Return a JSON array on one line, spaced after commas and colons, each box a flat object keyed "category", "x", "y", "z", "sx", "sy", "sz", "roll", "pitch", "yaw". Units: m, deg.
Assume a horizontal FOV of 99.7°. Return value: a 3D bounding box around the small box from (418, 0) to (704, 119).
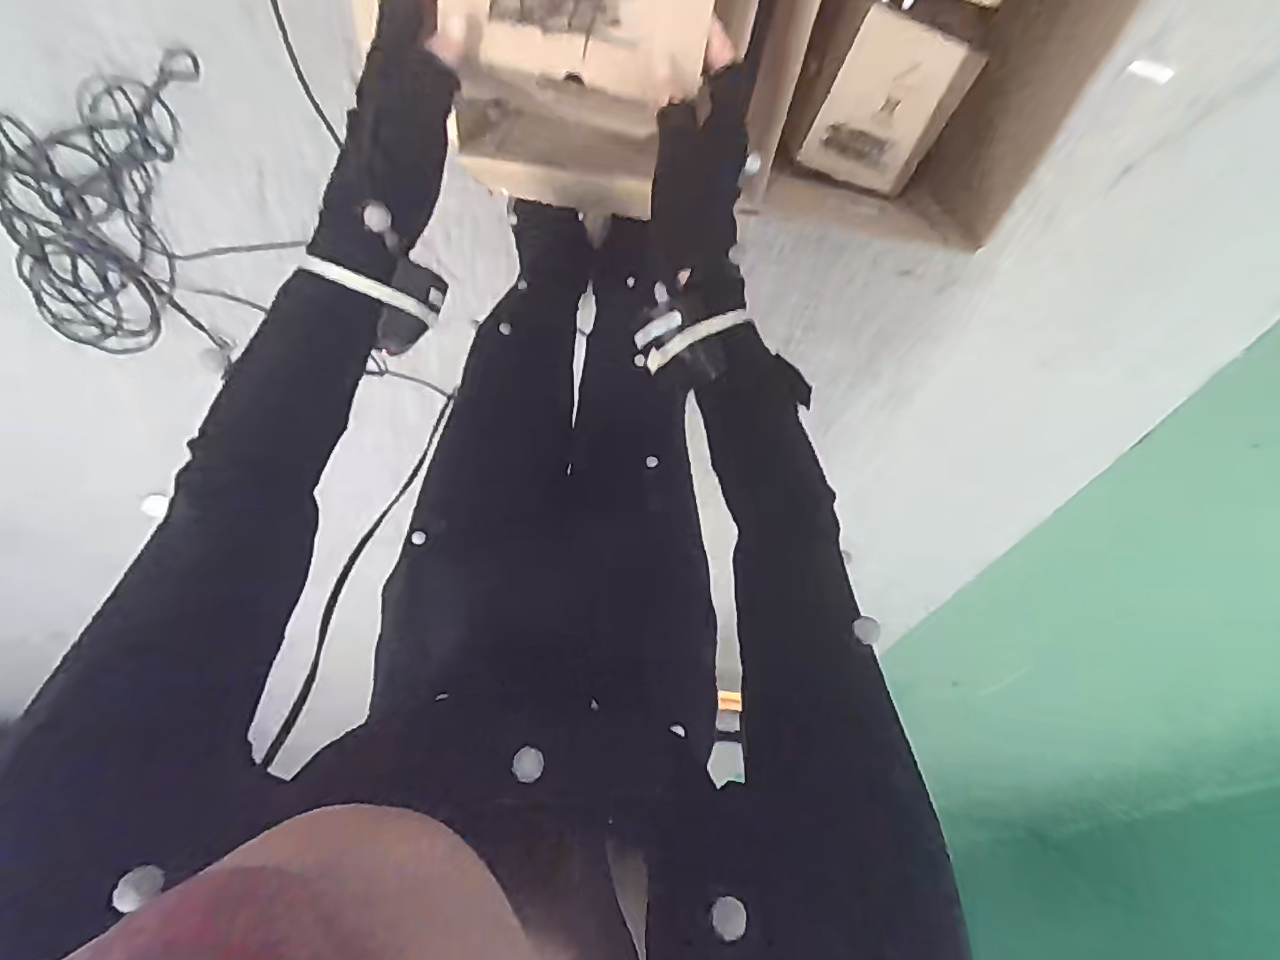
[{"category": "small box", "x": -0.048, "y": -0.362, "z": 0.360, "sx": 0.168, "sy": 0.176, "sz": 0.179, "roll": 3, "pitch": 118, "yaw": -15}]
